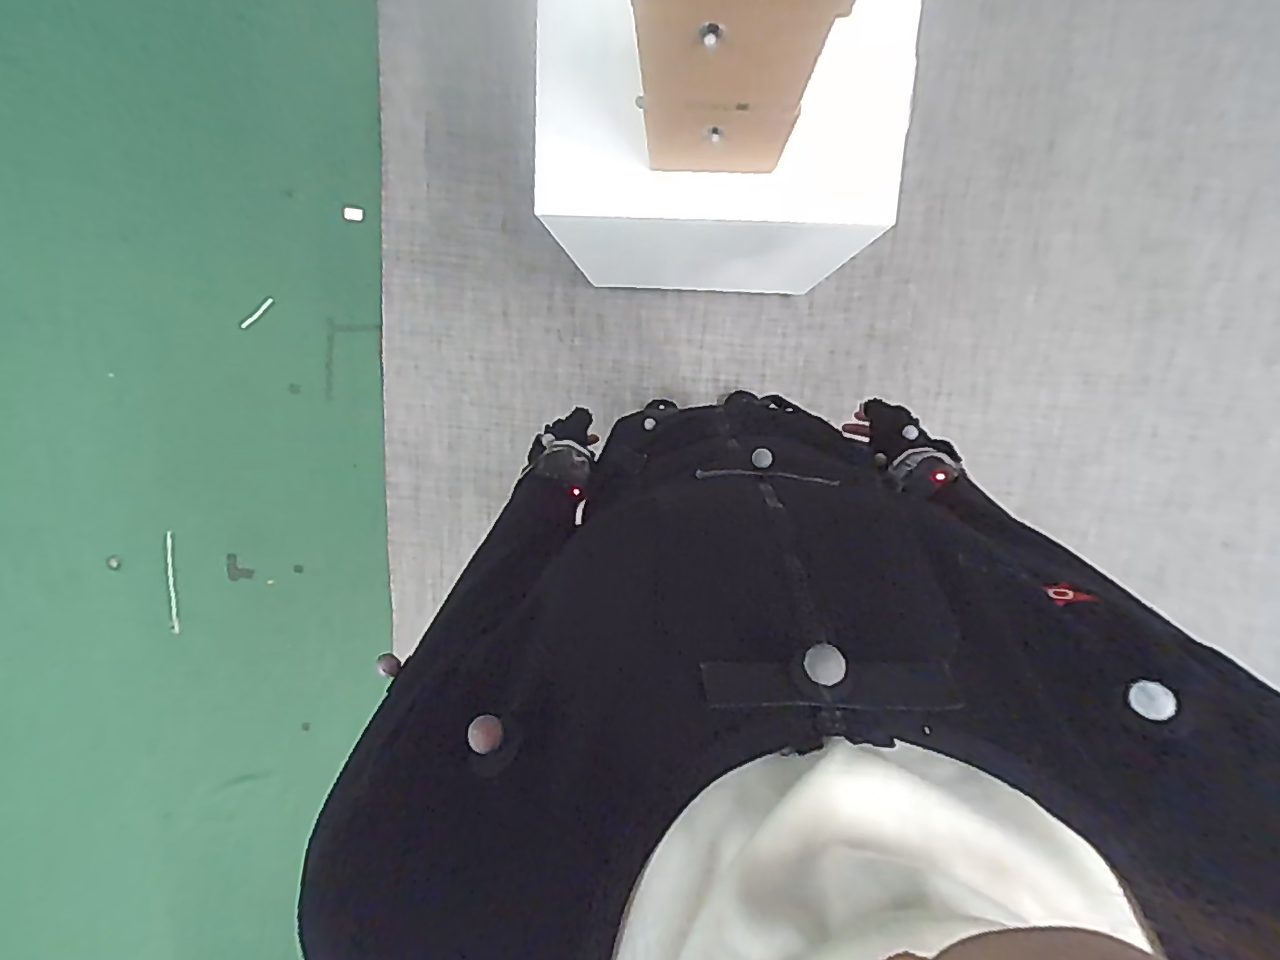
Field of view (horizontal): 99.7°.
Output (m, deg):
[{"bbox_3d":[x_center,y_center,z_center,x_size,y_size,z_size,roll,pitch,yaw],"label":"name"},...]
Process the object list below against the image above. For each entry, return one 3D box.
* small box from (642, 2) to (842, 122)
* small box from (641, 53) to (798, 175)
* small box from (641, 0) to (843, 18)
[{"bbox_3d":[0.089,-0.474,0.509,0.168,0.176,0.179,2,100,3],"label":"small box"},{"bbox_3d":[0.097,-0.497,0.668,0.179,0.176,0.168,3,100,3],"label":"small box"},{"bbox_3d":[0.079,-0.442,0.345,0.179,0.176,0.168,6,100,3],"label":"small box"}]
